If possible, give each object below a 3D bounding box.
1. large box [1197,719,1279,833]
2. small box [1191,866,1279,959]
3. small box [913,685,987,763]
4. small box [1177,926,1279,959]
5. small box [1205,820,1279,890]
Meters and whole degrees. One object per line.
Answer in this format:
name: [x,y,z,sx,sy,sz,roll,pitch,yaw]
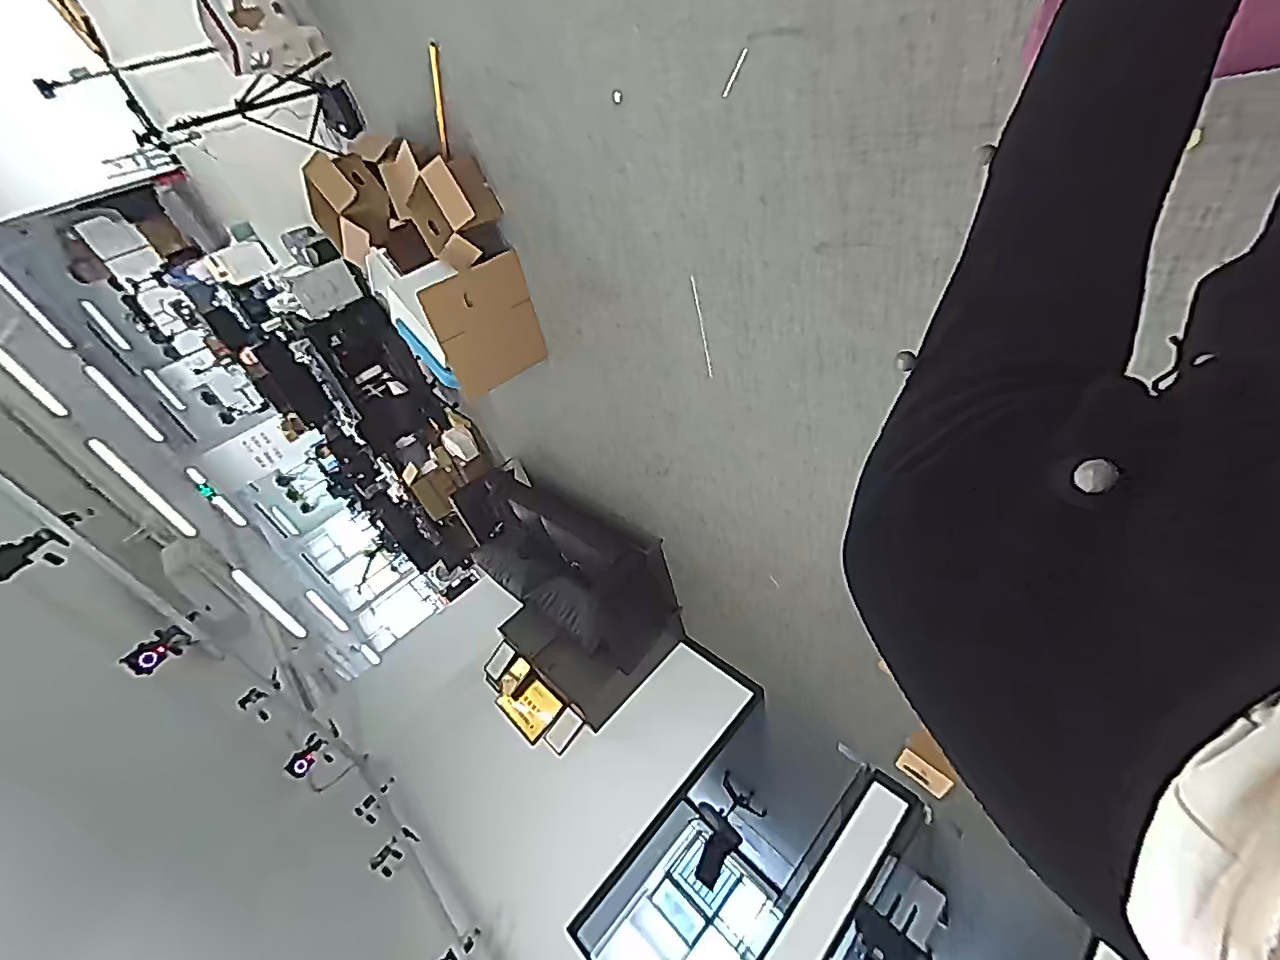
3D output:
large box: [1.860,0.907,1.457,0.320,0.320,0.408,54,153,-9]
small box: [1.522,1.117,1.335,0.179,0.176,0.168,57,152,-10]
small box: [1.153,0.900,2.005,0.168,0.176,0.179,33,147,33]
small box: [1.404,1.205,1.264,0.168,0.176,0.179,55,151,-8]
small box: [1.640,1.031,1.407,0.168,0.176,0.179,55,153,-8]
